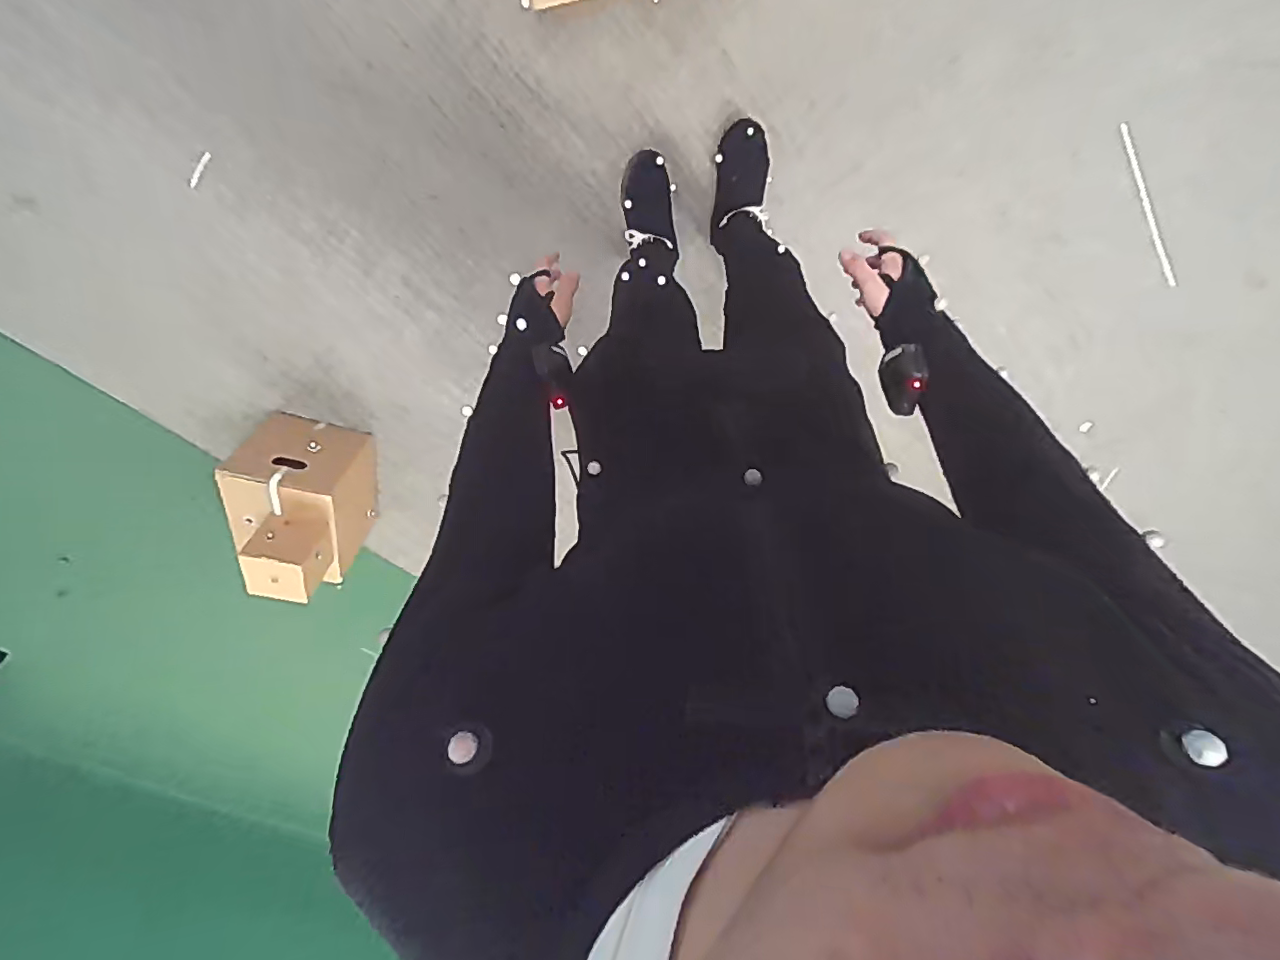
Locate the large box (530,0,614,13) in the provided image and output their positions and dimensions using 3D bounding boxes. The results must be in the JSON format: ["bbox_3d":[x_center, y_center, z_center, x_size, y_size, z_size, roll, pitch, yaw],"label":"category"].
[{"bbox_3d":[0.000,-0.988,0.857,0.408,0.320,0.320,-7,128,8],"label":"large box"}]

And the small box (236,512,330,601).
[{"bbox_3d":[-1.021,0.218,1.562,0.168,0.176,0.179,13,129,-10],"label":"small box"}]
